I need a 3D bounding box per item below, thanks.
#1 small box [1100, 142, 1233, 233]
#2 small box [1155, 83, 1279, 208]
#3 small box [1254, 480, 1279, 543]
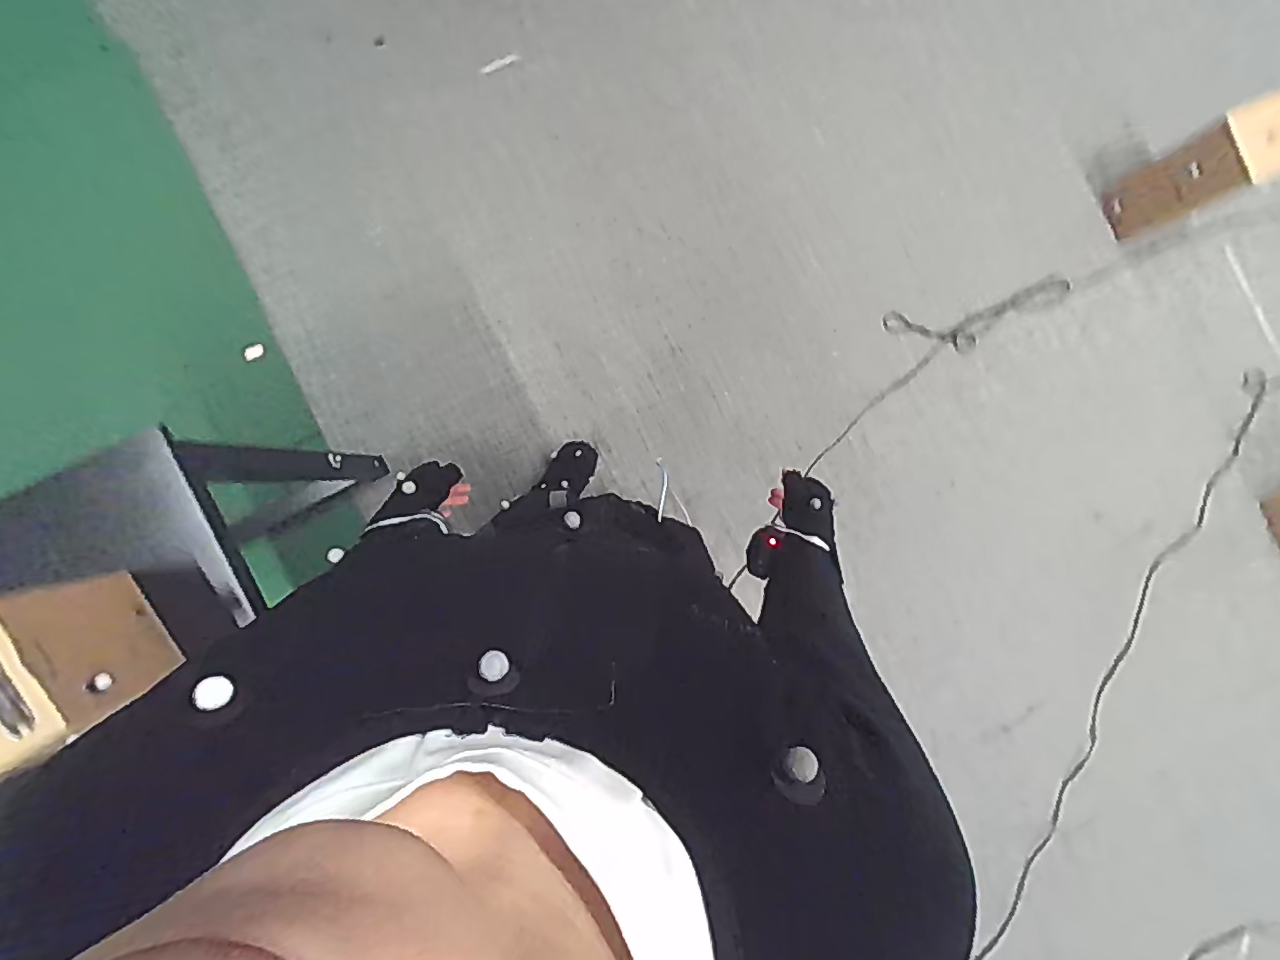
[{"bbox_3d":[1.401,-0.796,1.445,0.179,0.176,0.168,-21,91,-2],"label":"small box"},{"bbox_3d":[1.402,-0.791,1.298,0.179,0.176,0.168,-23,91,-2],"label":"small box"},{"bbox_3d":[1.862,0.076,1.477,0.168,0.176,0.179,-24,91,-1],"label":"small box"}]
